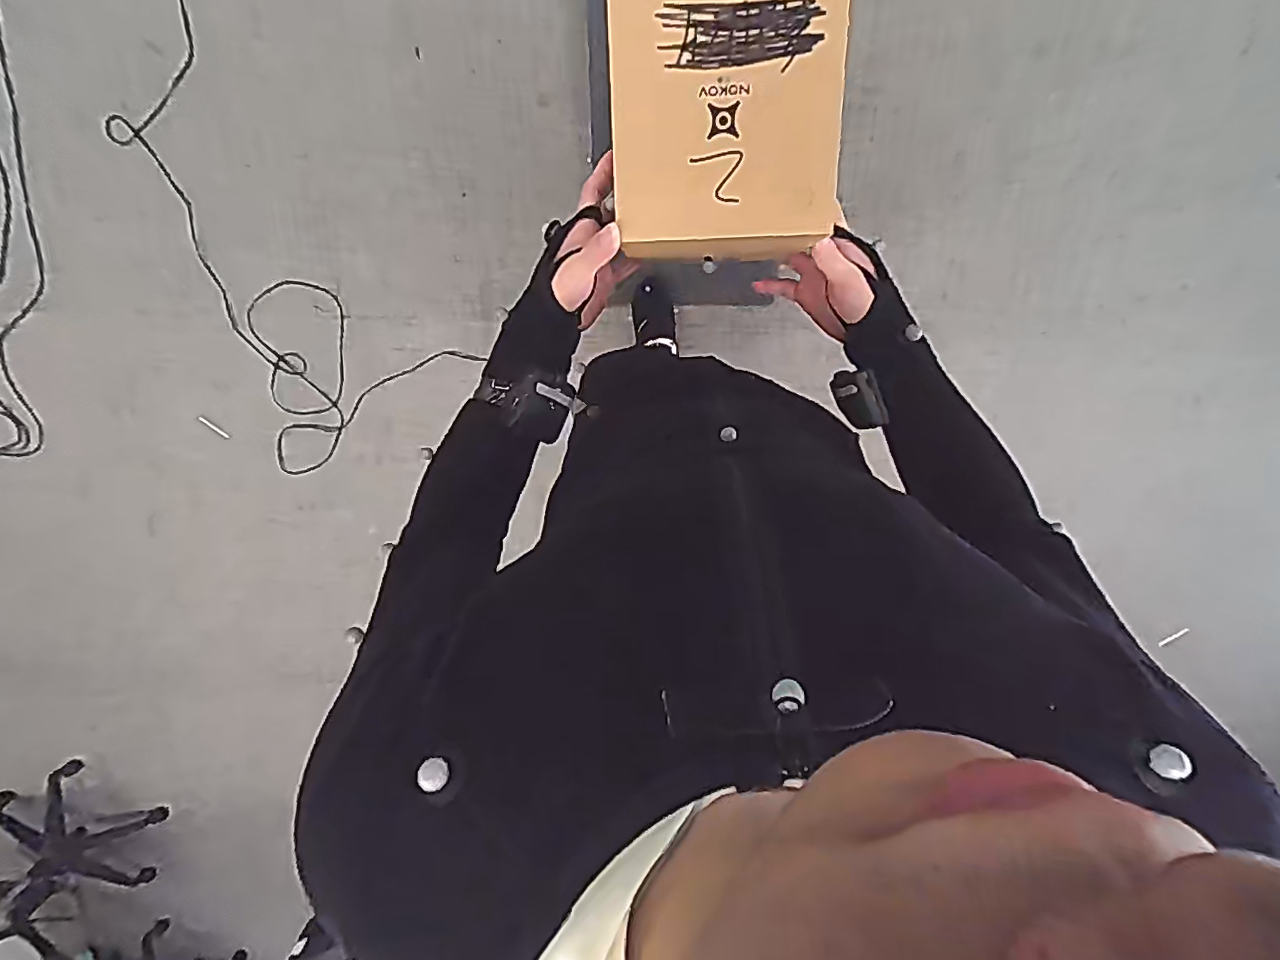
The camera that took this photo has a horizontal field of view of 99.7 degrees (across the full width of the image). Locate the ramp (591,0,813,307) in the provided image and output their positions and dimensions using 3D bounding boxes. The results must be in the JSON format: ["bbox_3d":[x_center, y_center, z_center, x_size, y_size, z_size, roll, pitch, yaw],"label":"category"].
[{"bbox_3d":[0.135,-0.917,1.253,0.509,0.206,0.991,-1,109,1],"label":"ramp"}]
